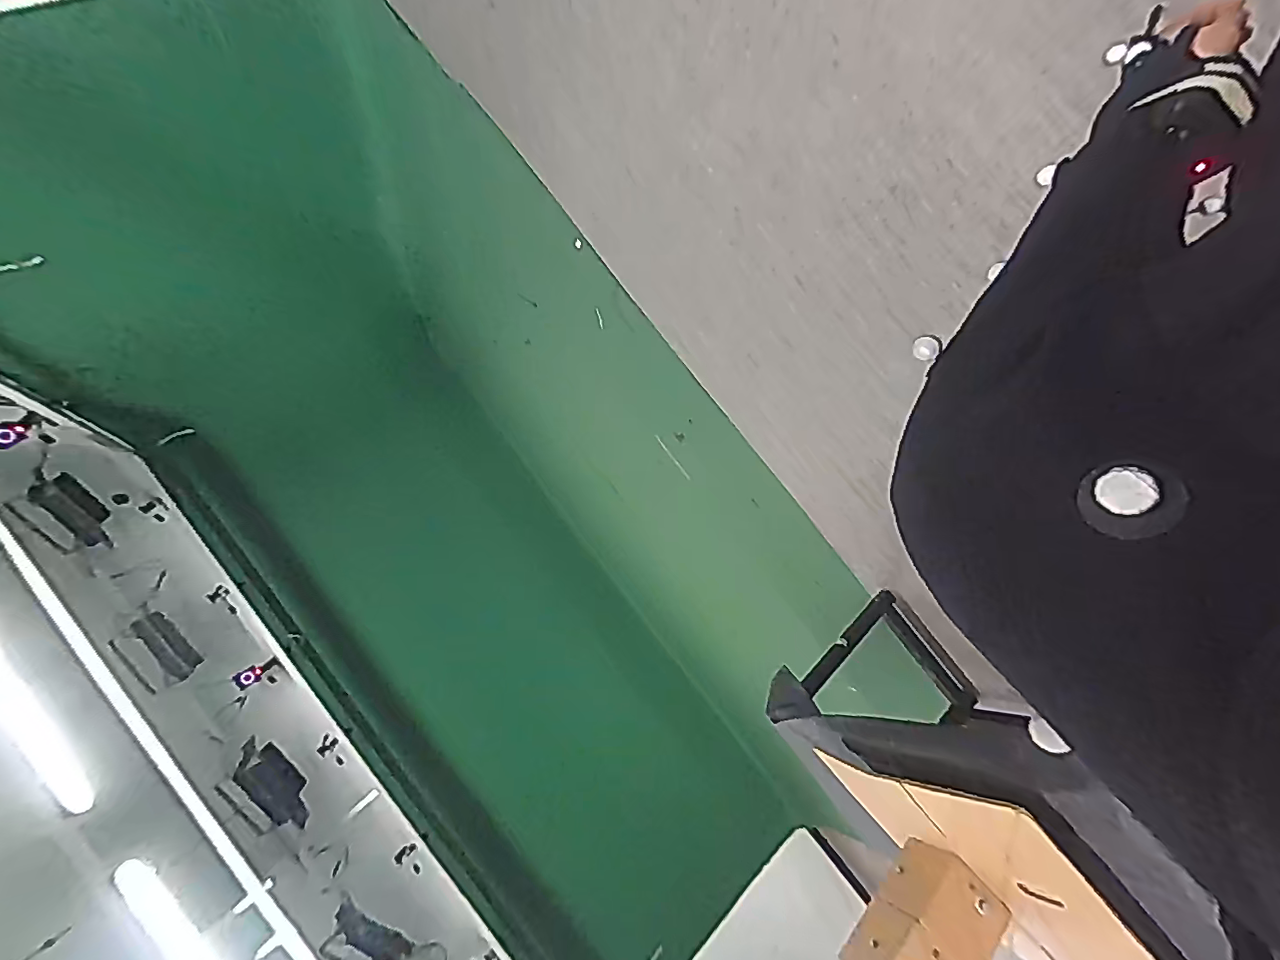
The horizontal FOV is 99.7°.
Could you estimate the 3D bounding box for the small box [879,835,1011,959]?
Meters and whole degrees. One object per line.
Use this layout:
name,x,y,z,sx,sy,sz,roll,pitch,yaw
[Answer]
small box,0.703,0.965,1.249,0.168,0.176,0.179,45,157,9

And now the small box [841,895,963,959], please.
small box,0.589,1.067,1.188,0.168,0.176,0.179,44,157,10
